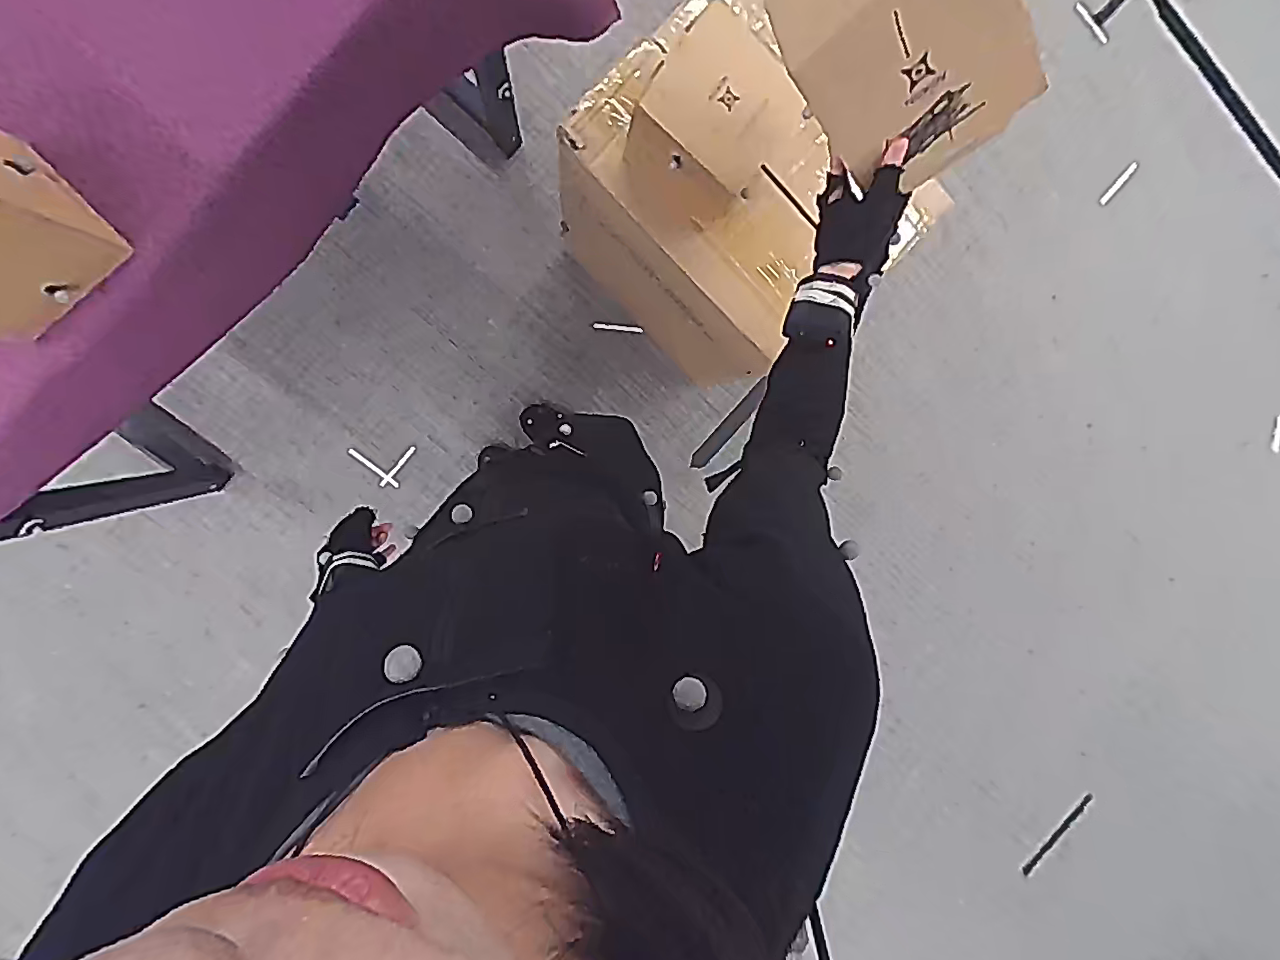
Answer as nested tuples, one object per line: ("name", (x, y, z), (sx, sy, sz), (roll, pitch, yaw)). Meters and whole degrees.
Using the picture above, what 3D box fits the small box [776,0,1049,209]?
("small box", (0.252, -0.417, 0.522), (0.168, 0.176, 0.179), (-27, 138, 34))

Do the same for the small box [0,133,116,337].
("small box", (-0.732, -0.278, 0.575), (0.179, 0.176, 0.168), (-42, 99, -2))

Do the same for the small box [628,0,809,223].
("small box", (0.099, -0.500, 0.764), (0.179, 0.176, 0.168), (37, 94, -11))
